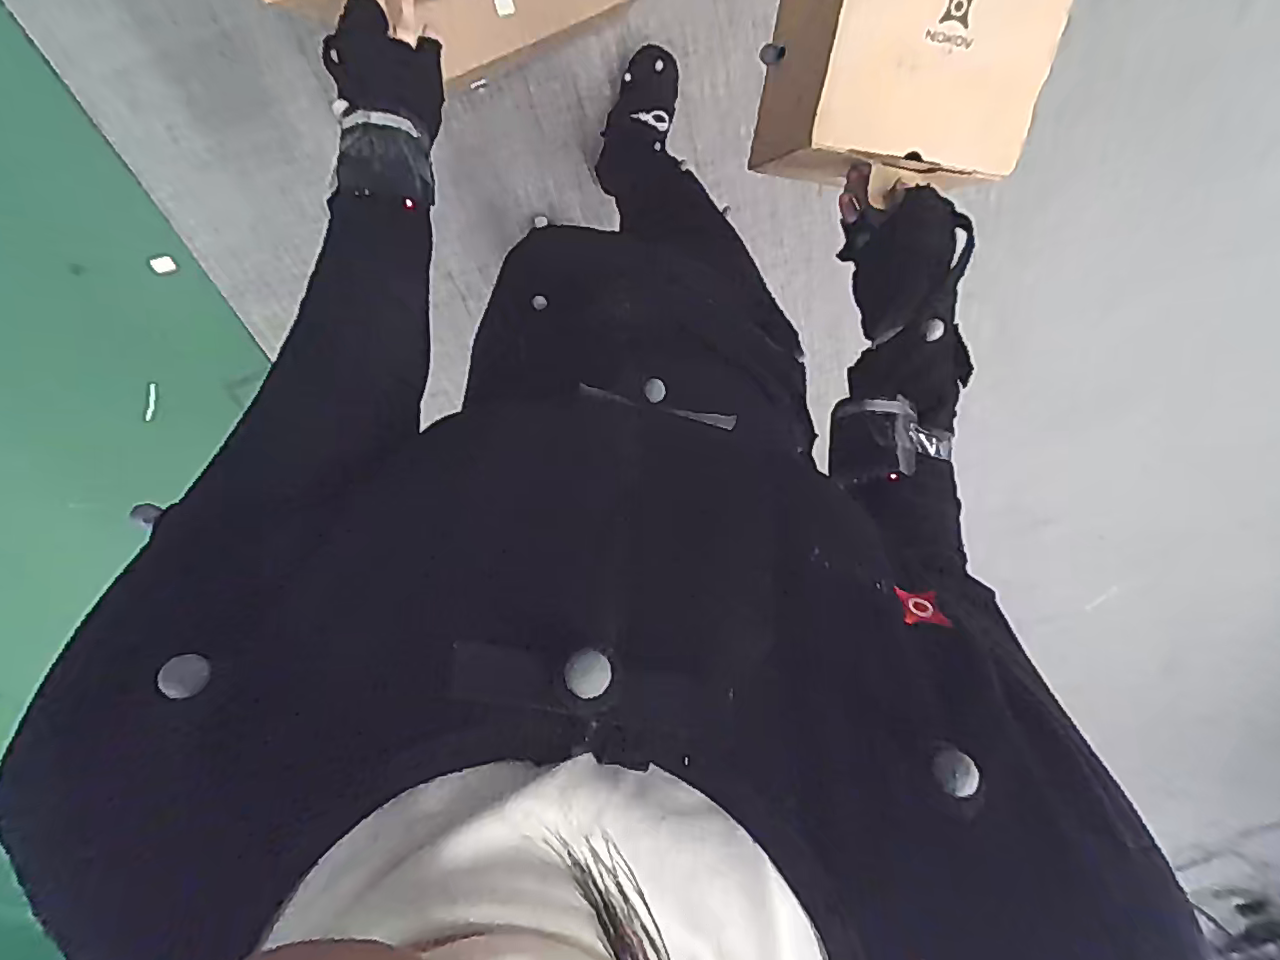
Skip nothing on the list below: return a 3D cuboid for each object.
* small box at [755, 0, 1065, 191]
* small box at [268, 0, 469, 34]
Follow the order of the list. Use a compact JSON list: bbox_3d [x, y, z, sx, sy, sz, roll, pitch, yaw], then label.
[{"bbox_3d":[0.208,-0.354,0.454,0.168,0.176,0.179,5,114,-8],"label":"small box"},{"bbox_3d":[-0.241,-0.507,0.452,0.168,0.176,0.179,-13,122,9],"label":"small box"}]
